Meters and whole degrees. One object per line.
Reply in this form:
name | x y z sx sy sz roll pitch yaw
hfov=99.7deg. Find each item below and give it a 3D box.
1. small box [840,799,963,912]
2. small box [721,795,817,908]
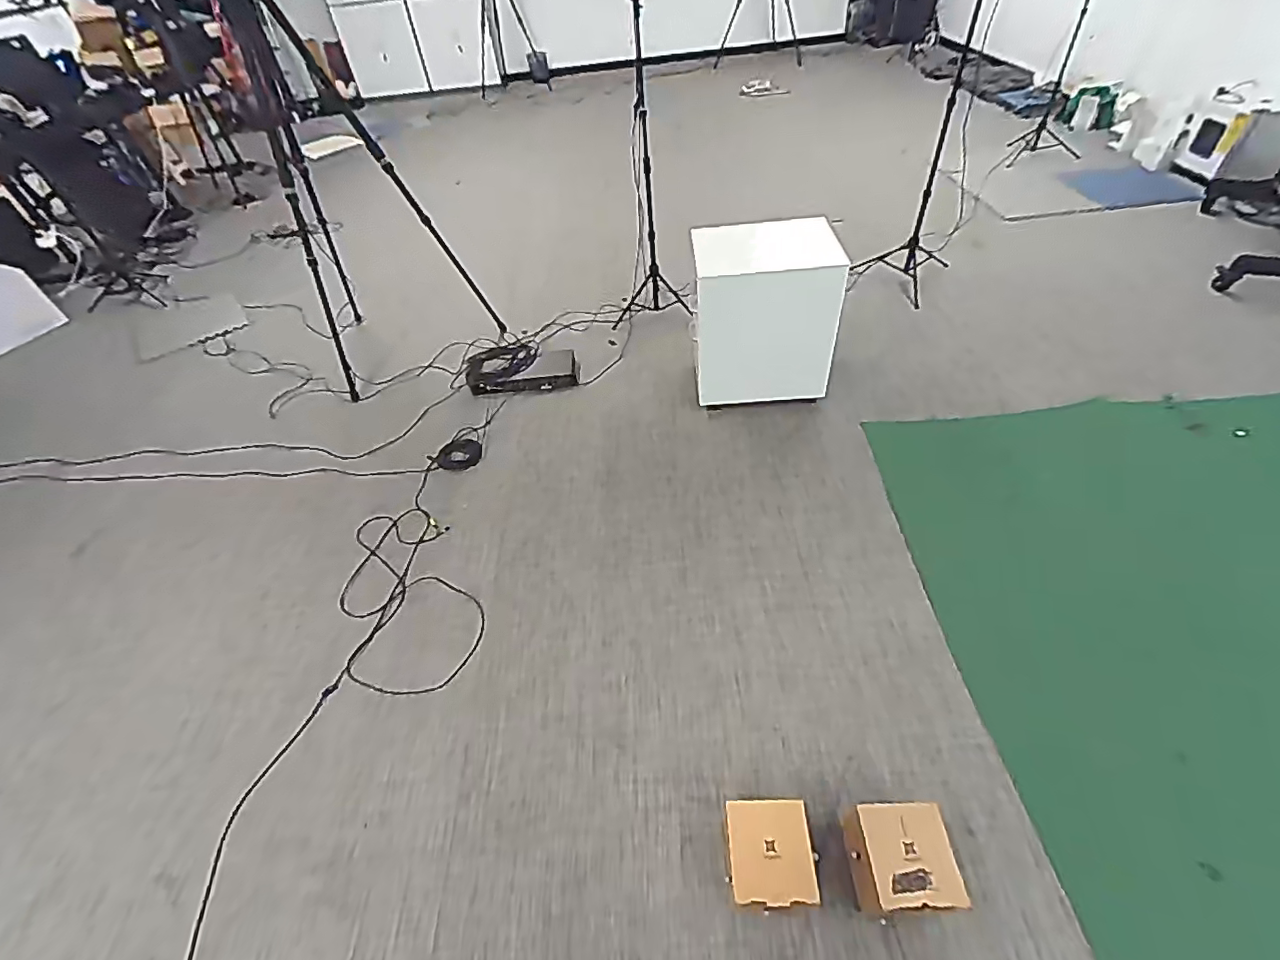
small box | 0.531 0.784 1.126 0.168 0.176 0.179 -3 47 3
small box | 0.263 0.789 1.149 0.168 0.176 0.179 -3 48 3
